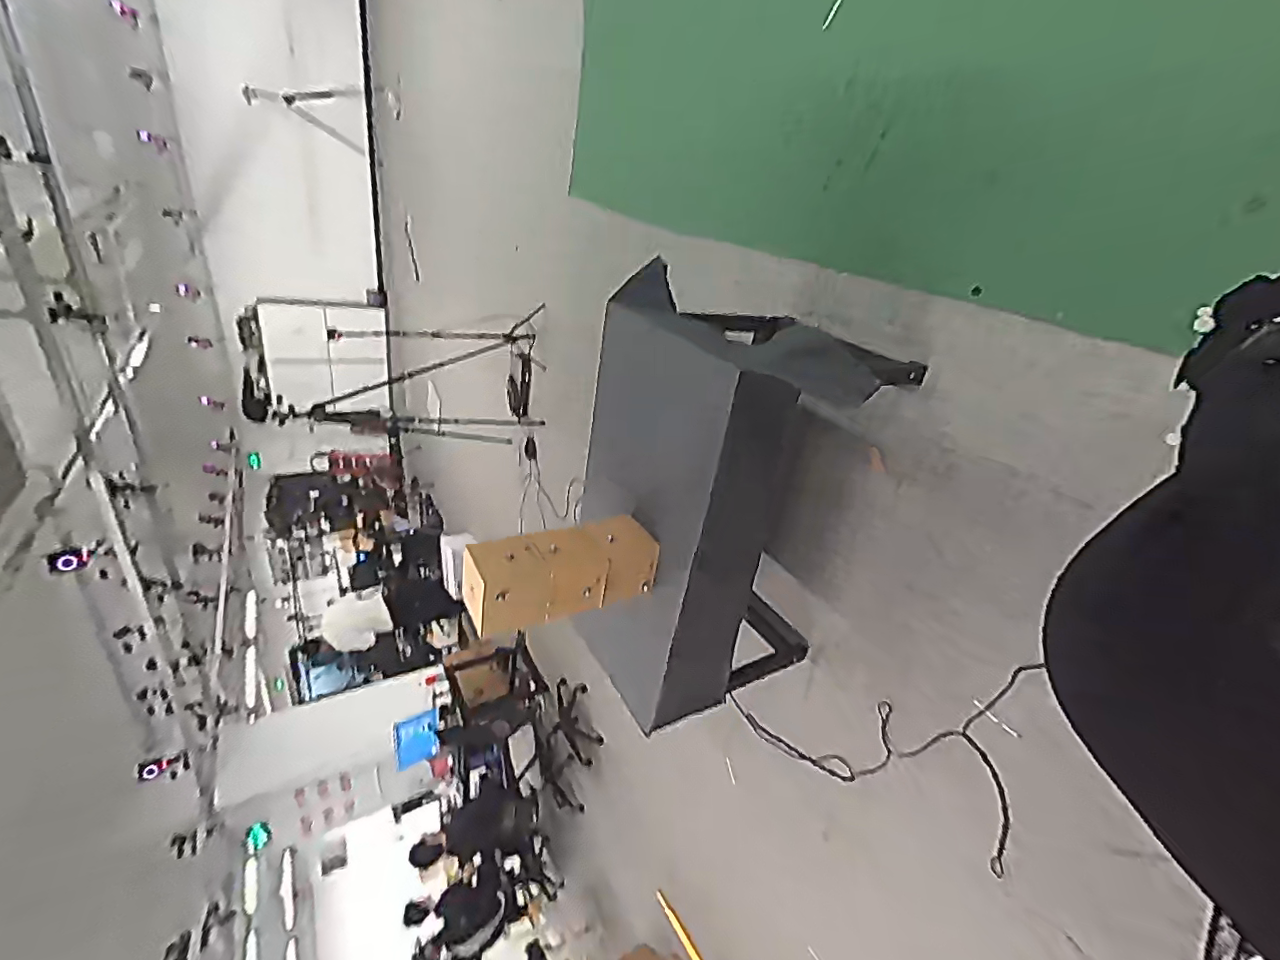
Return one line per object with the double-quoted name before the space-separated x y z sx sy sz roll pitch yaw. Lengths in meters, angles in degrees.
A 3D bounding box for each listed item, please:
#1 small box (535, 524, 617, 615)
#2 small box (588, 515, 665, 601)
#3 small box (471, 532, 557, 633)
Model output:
"small box" -0.183 0.234 1.470 0.179 0.176 0.168 43 132 46
"small box" -0.046 0.215 1.554 0.179 0.176 0.168 44 132 47
"small box" -0.322 0.253 1.382 0.168 0.176 0.179 45 133 45
